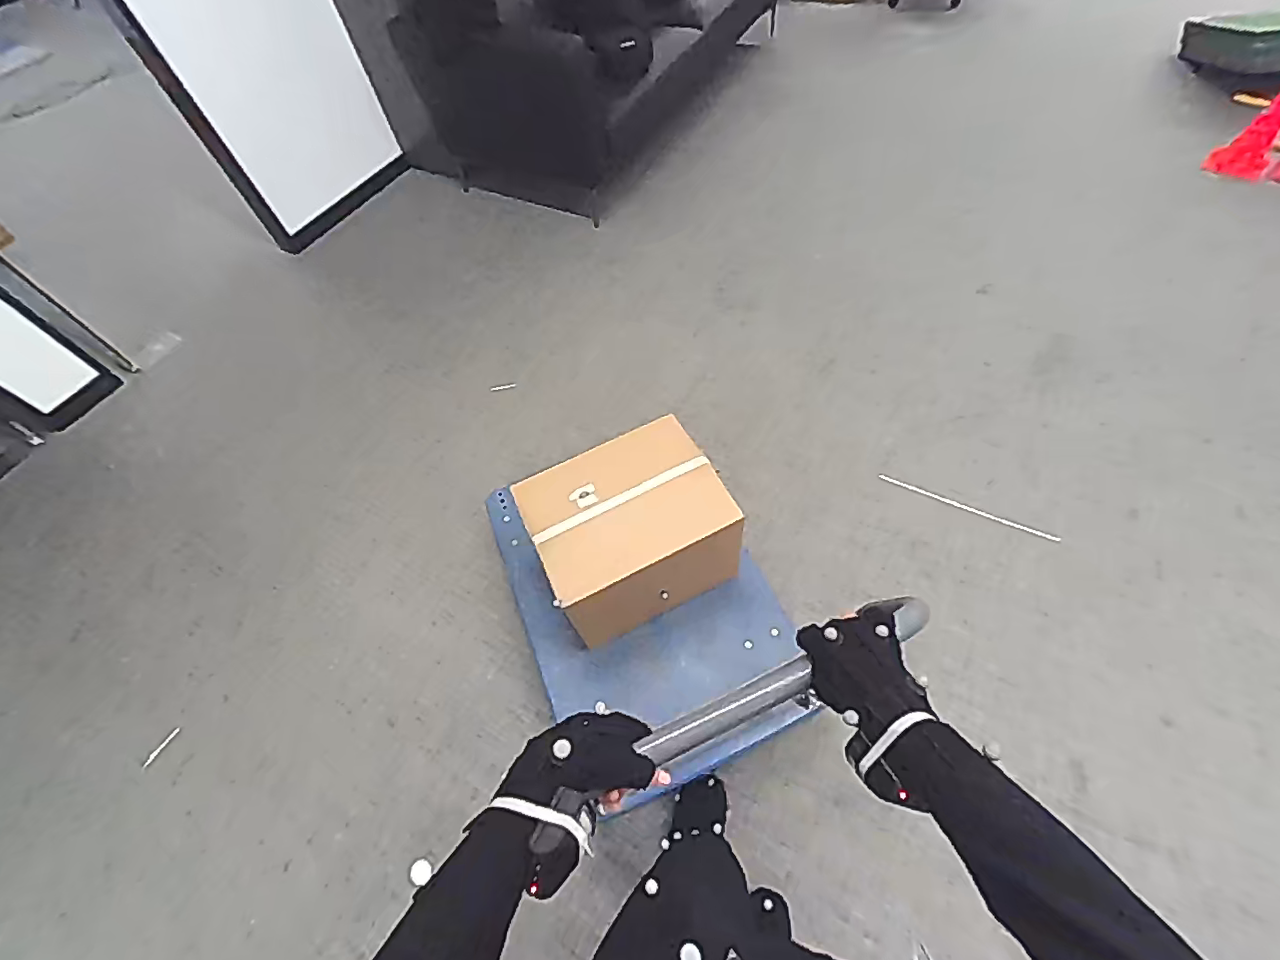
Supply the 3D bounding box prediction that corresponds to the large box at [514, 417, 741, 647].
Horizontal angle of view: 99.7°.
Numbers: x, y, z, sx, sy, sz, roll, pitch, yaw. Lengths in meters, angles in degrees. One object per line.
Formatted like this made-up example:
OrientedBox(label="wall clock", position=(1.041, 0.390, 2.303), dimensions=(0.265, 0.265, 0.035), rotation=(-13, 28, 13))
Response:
OrientedBox(label="large box", position=(-0.019, 0.128, 1.266), dimensions=(0.408, 0.320, 0.320), rotation=(-27, 58, -9))
